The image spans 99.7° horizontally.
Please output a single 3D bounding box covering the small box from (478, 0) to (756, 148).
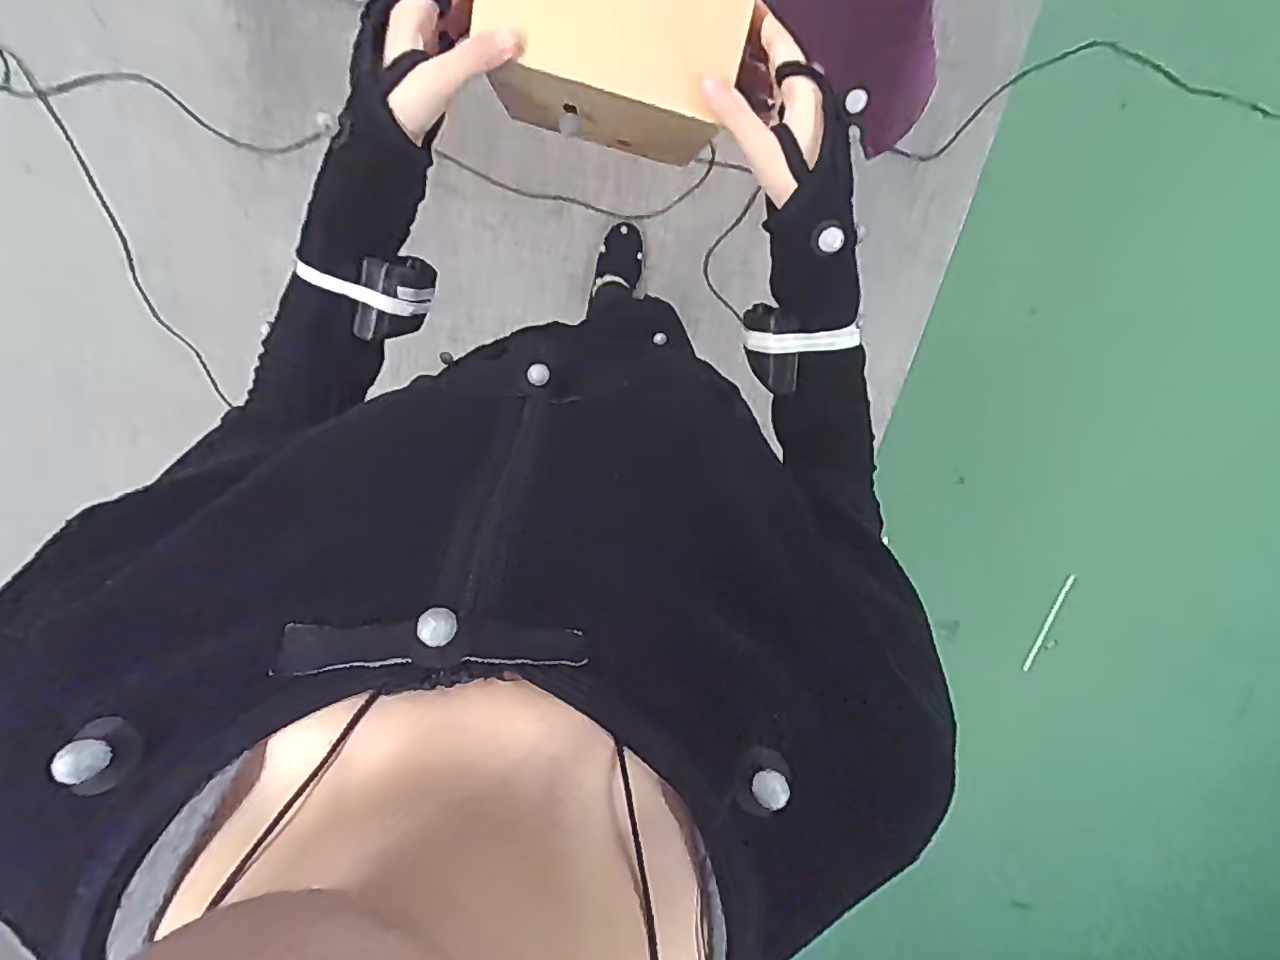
[{"bbox_3d":[-0.004,-0.366,0.385,0.168,0.176,0.179,12,109,-9],"label":"small box"}]
